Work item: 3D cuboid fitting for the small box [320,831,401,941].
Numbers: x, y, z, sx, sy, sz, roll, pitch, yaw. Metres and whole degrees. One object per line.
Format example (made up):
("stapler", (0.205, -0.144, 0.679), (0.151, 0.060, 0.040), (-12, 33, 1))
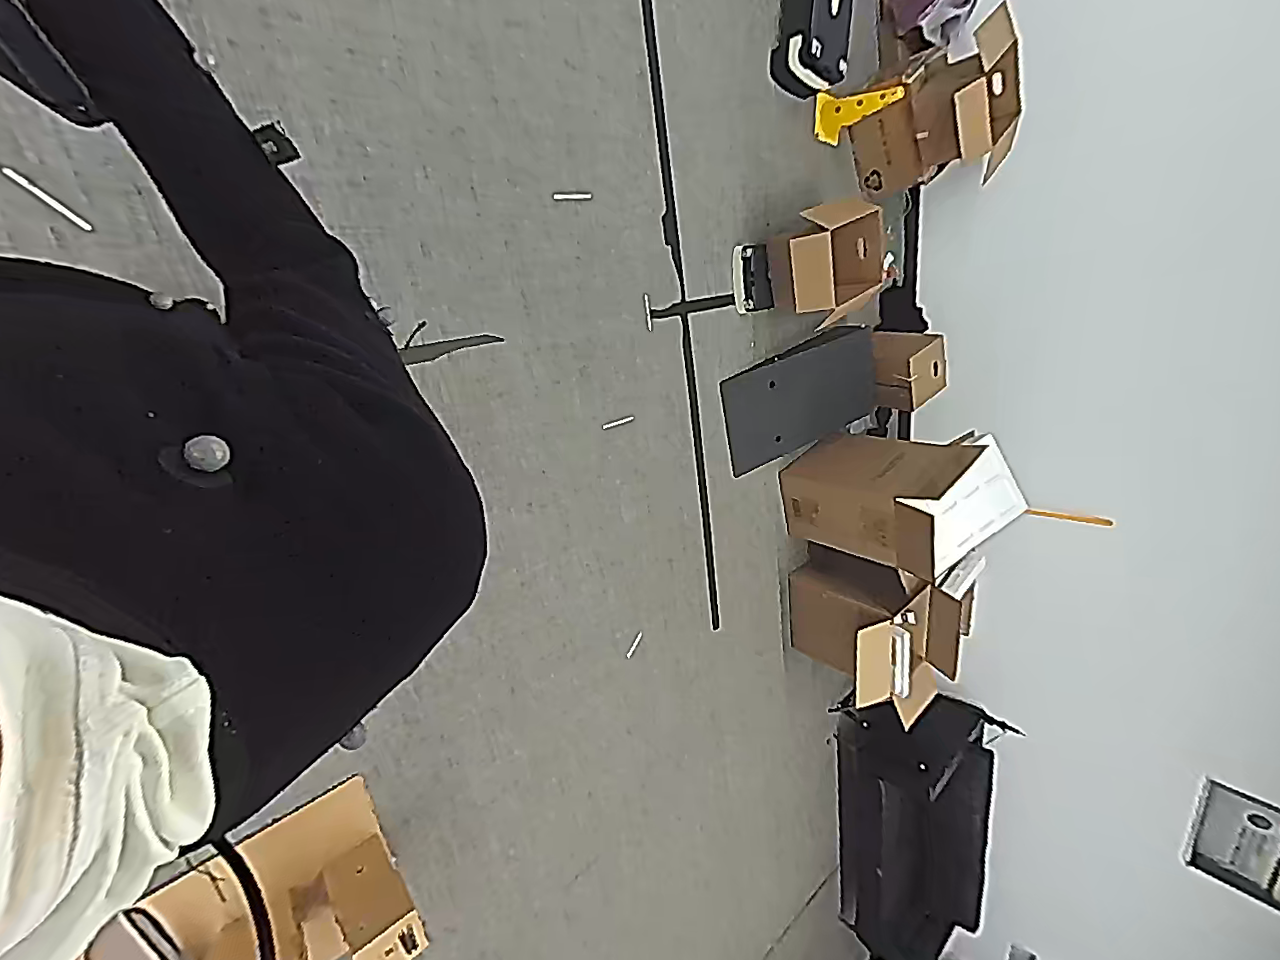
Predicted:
("small box", (-0.881, 1.263, 1.695), (0.179, 0.176, 0.168), (-22, 115, -37))

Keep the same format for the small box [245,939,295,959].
("small box", (-0.984, 1.370, 1.411), (0.168, 0.176, 0.179), (-19, 113, -36))

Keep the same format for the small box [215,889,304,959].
("small box", (-1.084, 1.334, 1.538), (0.179, 0.176, 0.168), (-20, 113, -36))
